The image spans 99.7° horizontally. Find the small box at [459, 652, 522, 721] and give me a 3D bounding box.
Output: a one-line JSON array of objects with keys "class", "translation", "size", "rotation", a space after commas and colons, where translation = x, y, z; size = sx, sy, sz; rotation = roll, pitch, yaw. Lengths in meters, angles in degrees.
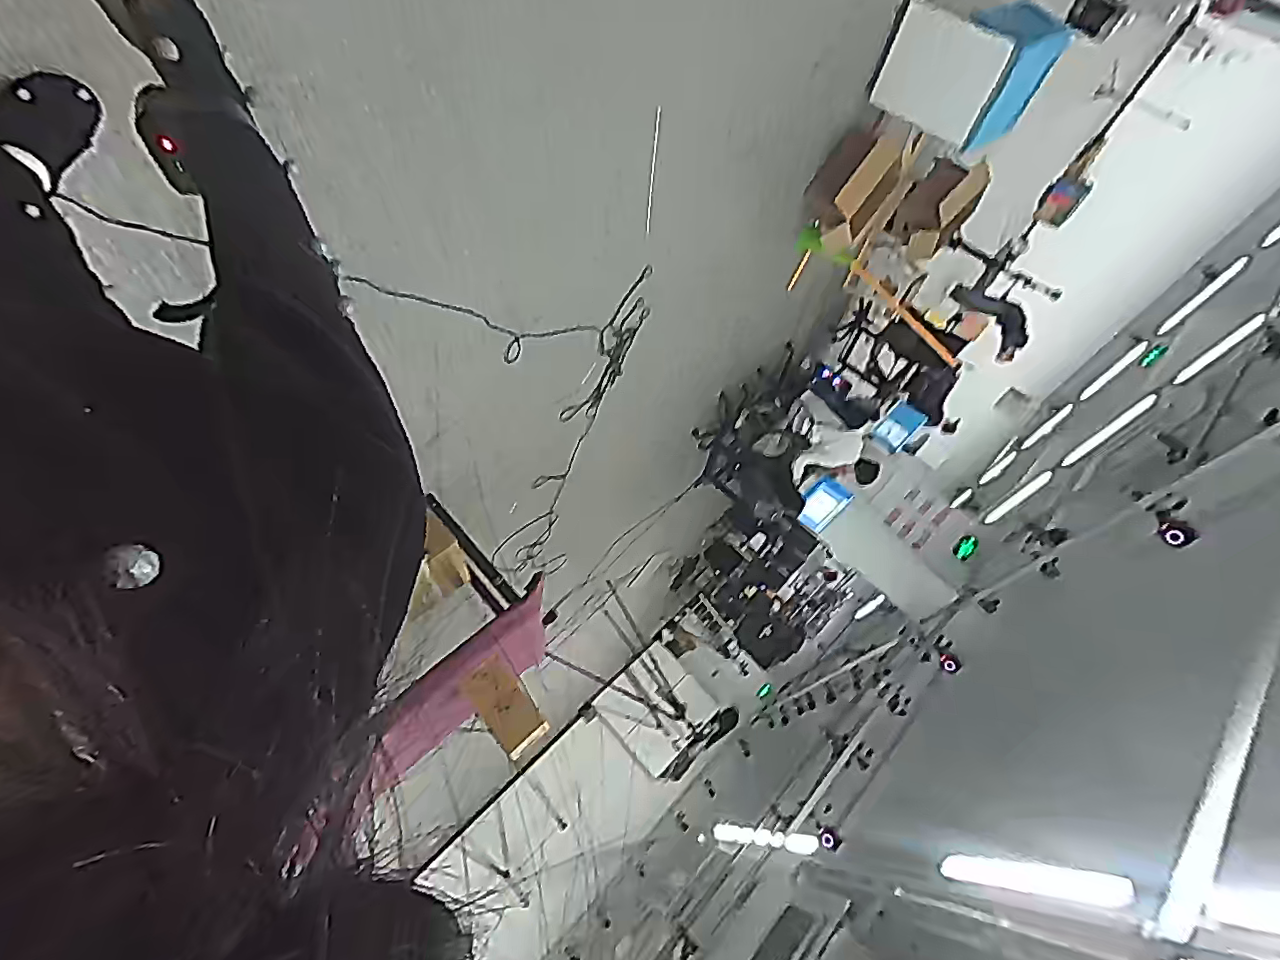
[{"class": "small box", "translation": [-0.573, 0.792, 2.081], "size": [0.168, 0.176, 0.179], "rotation": [-36, 158, -27]}]
